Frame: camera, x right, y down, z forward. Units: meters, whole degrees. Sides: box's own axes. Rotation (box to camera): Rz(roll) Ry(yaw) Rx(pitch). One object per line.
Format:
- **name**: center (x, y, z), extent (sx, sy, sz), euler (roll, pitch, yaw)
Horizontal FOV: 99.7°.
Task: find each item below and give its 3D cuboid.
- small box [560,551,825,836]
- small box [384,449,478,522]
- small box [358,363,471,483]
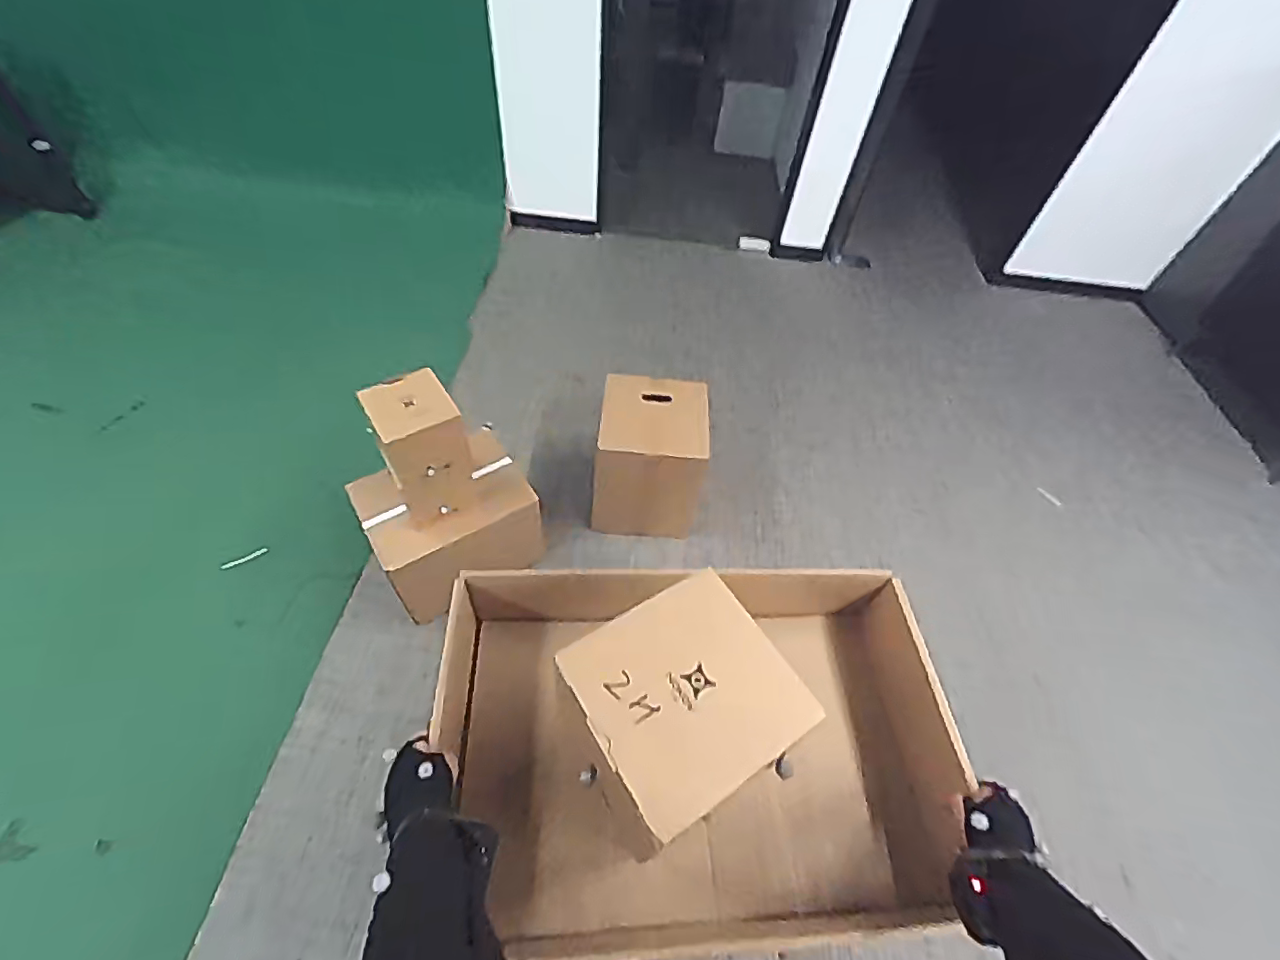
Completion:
- **small box**: center (0.035, 0.205, 0.520), extent (0.179, 0.176, 0.168), euler (-25, 58, -23)
- **small box**: center (-0.519, -0.028, 1.339), extent (0.168, 0.176, 0.179), euler (-24, 59, -22)
- **small box**: center (-0.498, -0.125, 1.210), extent (0.168, 0.176, 0.179), euler (-27, 59, -23)
